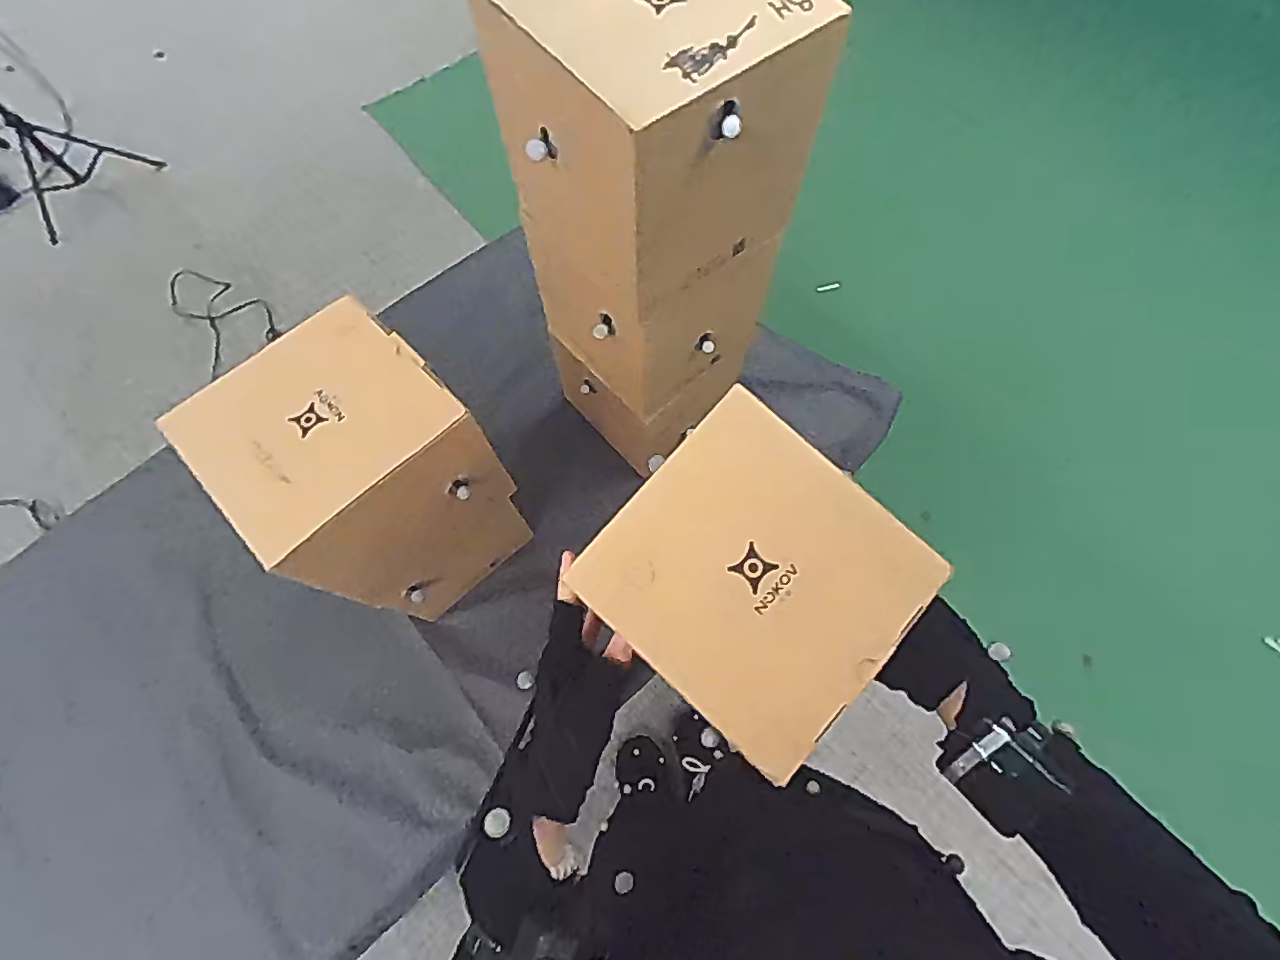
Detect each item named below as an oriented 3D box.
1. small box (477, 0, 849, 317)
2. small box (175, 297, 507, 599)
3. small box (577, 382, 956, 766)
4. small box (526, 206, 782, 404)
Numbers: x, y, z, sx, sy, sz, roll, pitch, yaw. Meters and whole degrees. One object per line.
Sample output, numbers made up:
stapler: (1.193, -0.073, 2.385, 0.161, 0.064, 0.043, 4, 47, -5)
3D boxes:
small box: (0.011, -0.261, 0.404, 0.168, 0.176, 0.179, -37, 72, -12)
small box: (-0.241, -0.018, 0.489, 0.179, 0.176, 0.168, -43, 73, -15)
small box: (0.075, 0.064, 0.405, 0.179, 0.176, 0.168, 42, 82, 5)
small box: (0.013, -0.202, 0.558, 0.168, 0.176, 0.179, -38, 73, -13)
